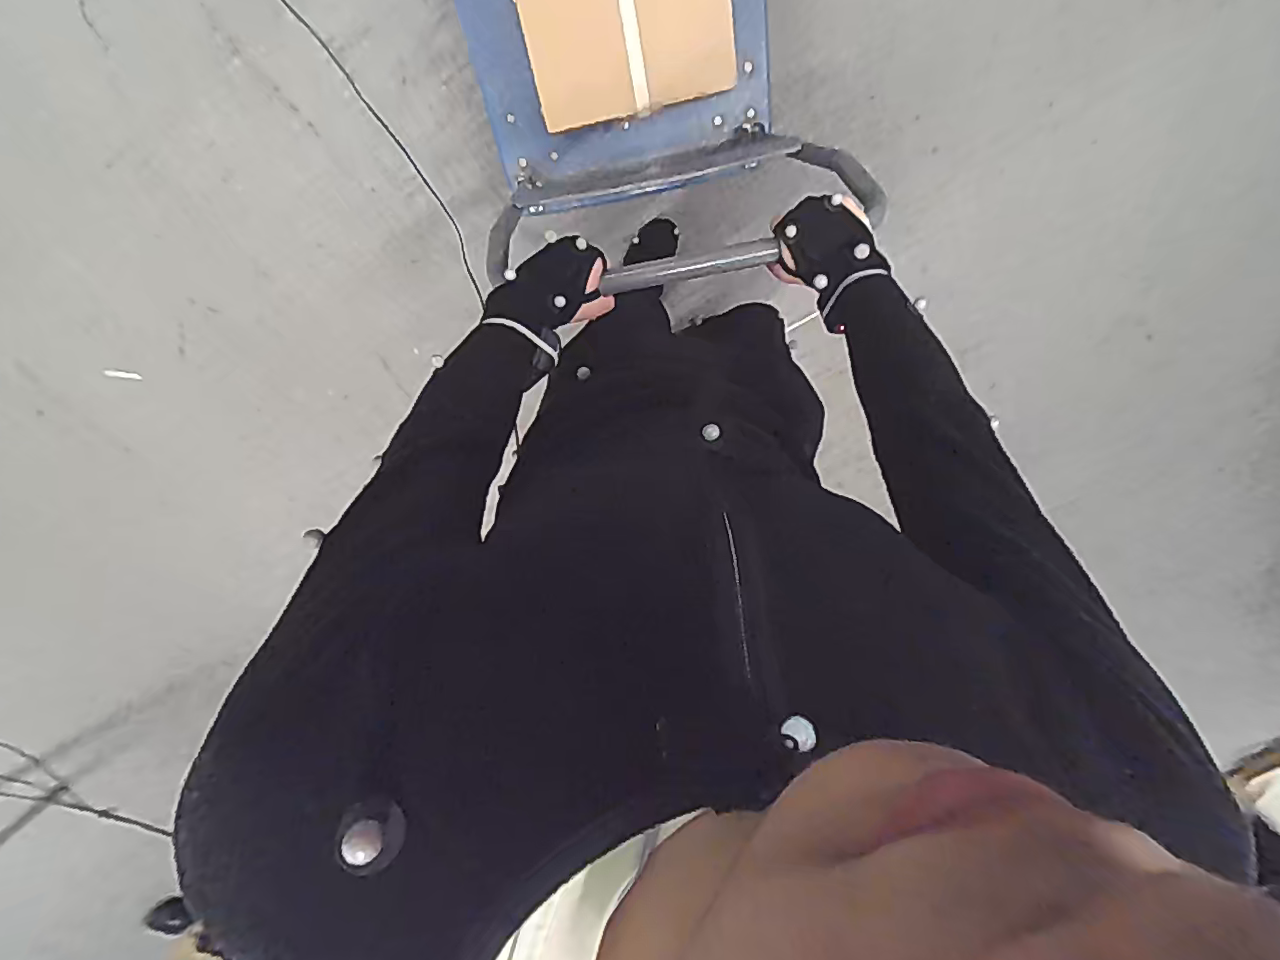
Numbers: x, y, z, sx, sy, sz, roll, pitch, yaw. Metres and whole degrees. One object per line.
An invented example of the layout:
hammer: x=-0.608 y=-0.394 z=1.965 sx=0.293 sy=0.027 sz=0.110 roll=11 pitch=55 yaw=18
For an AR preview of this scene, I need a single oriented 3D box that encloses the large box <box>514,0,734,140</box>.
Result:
large box: x=-0.046 y=-0.832 z=0.897 sx=0.320 sy=0.320 sz=0.408 roll=-12 pitch=122 yaw=3
